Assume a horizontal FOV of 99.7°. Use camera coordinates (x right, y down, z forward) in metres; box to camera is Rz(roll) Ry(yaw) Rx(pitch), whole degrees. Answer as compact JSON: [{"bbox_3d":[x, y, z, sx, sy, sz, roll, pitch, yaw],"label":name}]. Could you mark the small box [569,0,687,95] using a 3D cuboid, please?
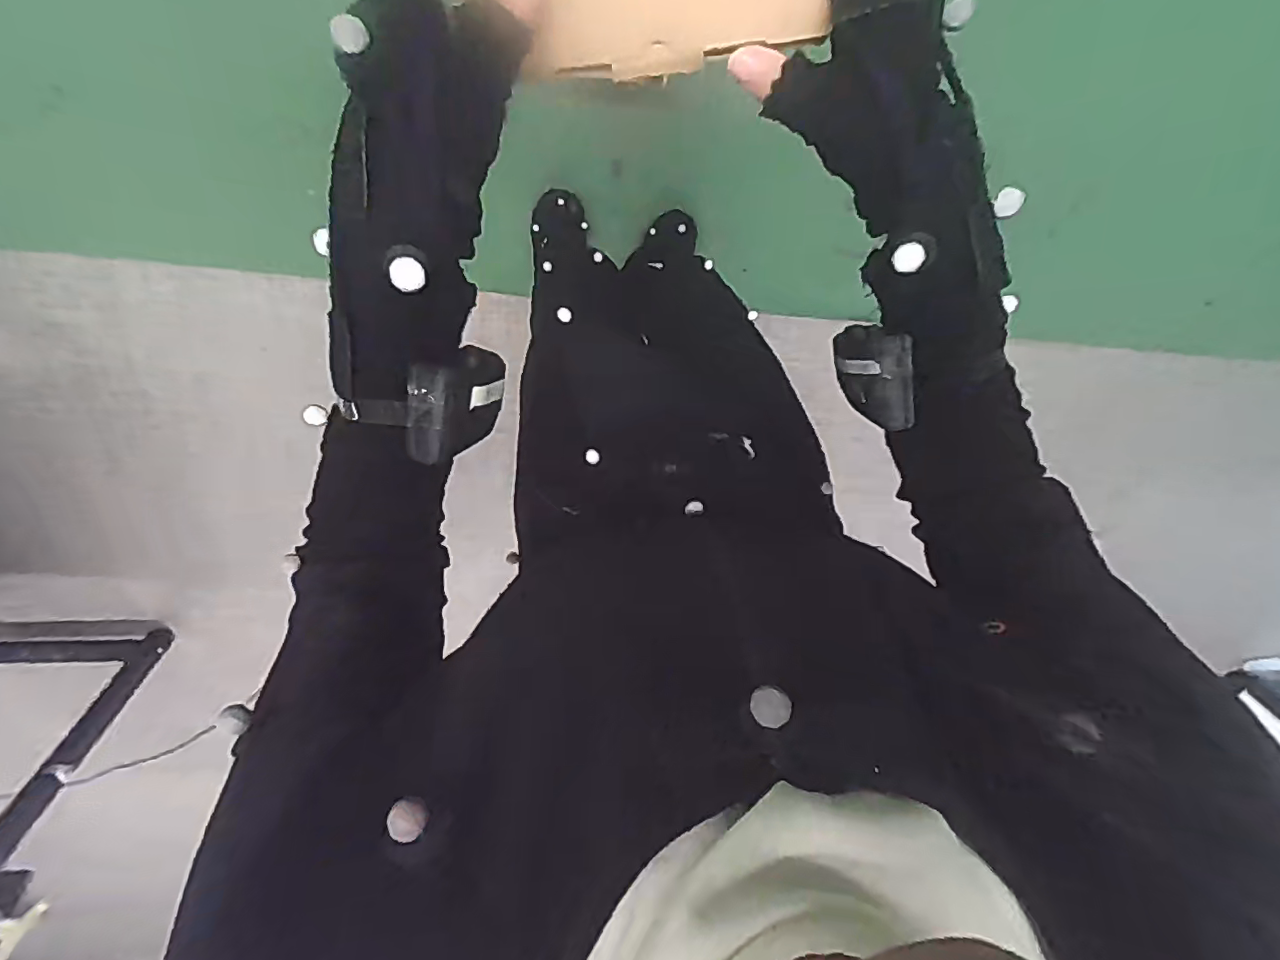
[{"bbox_3d":[-0.023,-0.757,0.889,0.168,0.176,0.179,6,123,-13],"label":"small box"}]
